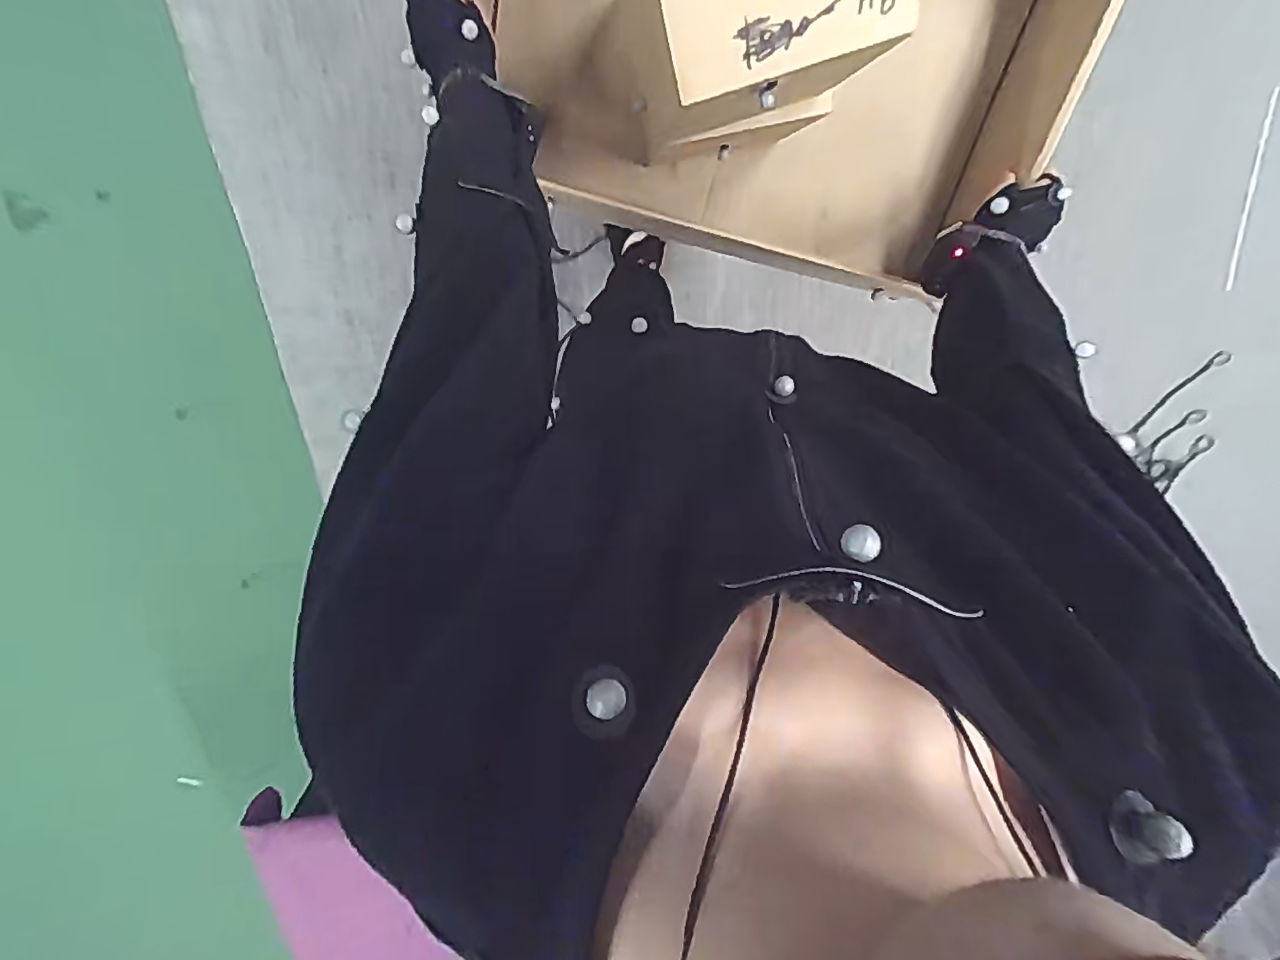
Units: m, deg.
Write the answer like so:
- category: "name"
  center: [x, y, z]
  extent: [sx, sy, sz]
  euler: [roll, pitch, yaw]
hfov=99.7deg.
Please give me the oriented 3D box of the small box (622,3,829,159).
- category: "small box"
  center: [0.078, -0.441, 0.547]
  extent: [0.168, 0.176, 0.179]
  euler: [-11, 113, 0]

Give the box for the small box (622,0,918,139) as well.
- category: "small box"
  center: [0.073, -0.383, 0.393]
  extent: [0.168, 0.176, 0.179]
  euler: [-16, 113, 3]

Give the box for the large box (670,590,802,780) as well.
- category: "large box"
  center: [0.267, 0.583, 1.577]
  extent: [0.320, 0.320, 0.408]
  euler: [-6, 108, -2]
